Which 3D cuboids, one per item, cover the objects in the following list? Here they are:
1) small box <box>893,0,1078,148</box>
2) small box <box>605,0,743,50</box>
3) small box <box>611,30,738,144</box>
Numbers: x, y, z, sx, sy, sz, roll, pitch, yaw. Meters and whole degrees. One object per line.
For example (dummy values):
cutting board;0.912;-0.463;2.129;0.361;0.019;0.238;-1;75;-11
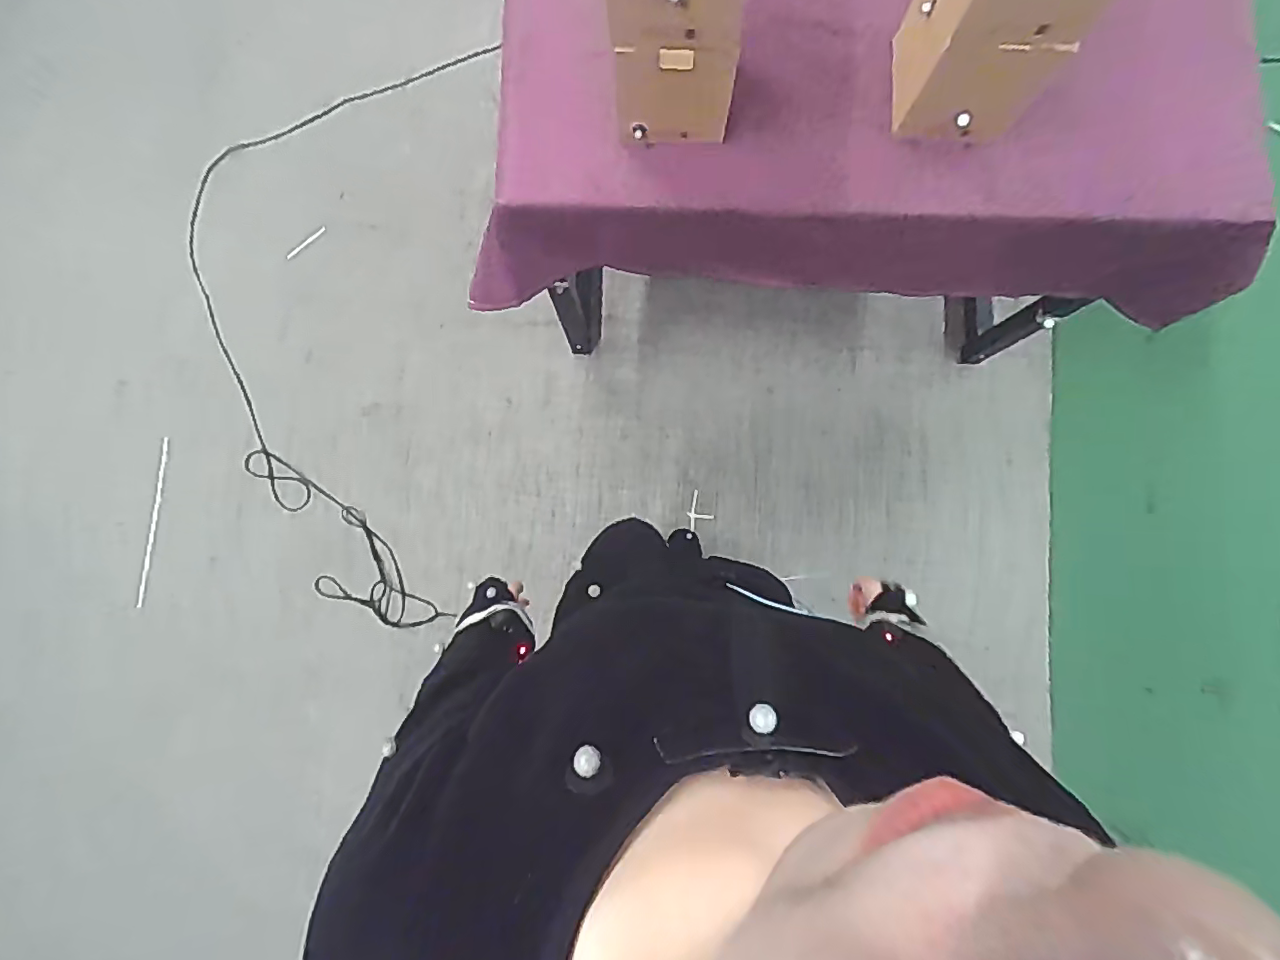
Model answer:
small box;0.482;-0.621;0.778;0.168;0.176;0.179;4;84;2
small box;0.044;-0.640;0.619;0.168;0.176;0.179;3;84;0
small box;0.048;-0.620;0.782;0.168;0.176;0.179;1;82;0
